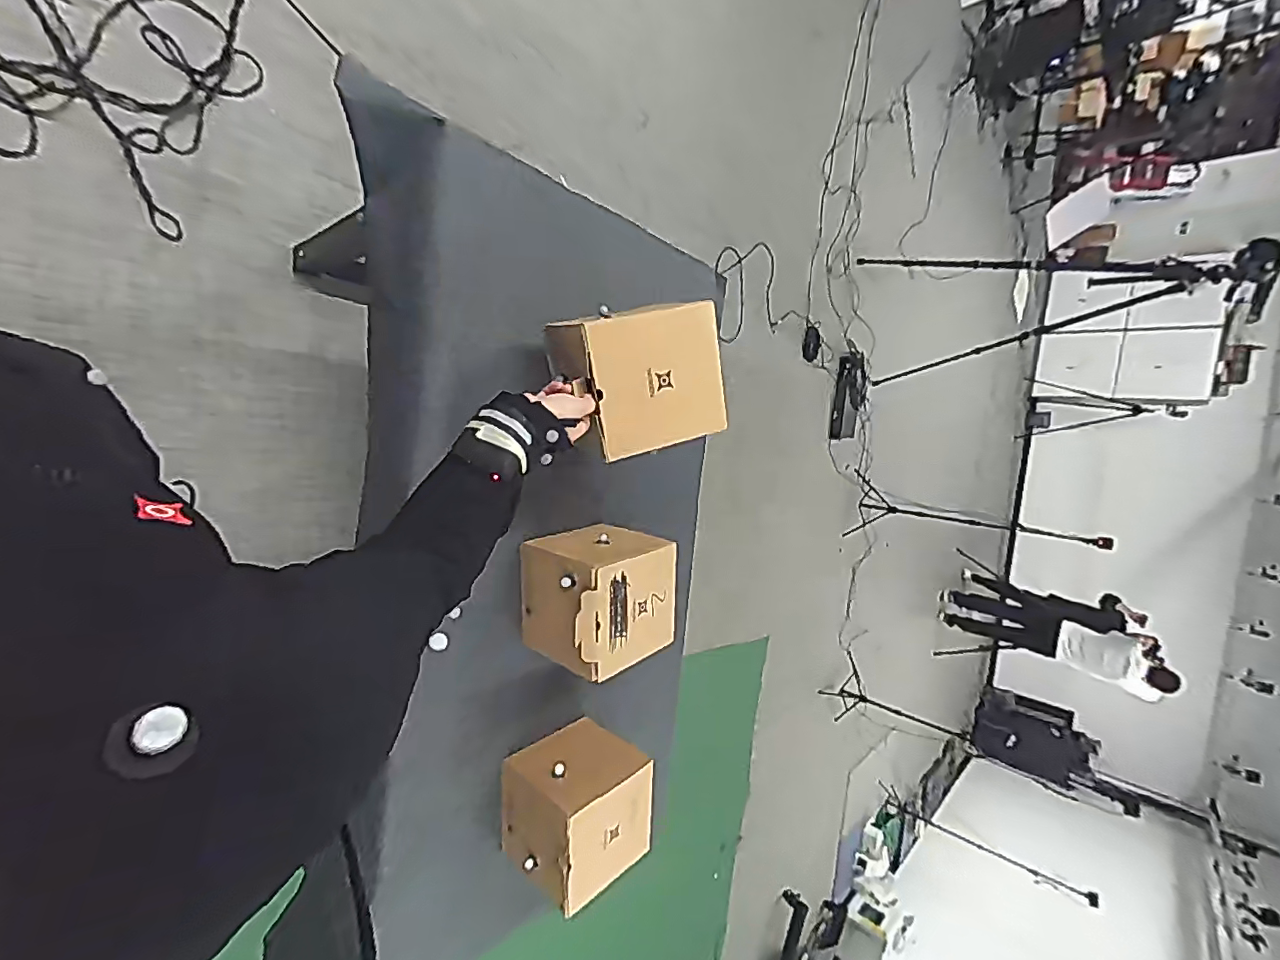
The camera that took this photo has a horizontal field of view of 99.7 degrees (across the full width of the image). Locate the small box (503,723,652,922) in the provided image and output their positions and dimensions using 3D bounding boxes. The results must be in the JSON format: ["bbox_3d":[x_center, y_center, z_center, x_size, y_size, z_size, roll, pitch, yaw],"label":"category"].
[{"bbox_3d":[-0.102,0.523,0.858,0.179,0.176,0.168,-8,104,-48],"label":"small box"}]

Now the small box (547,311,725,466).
[{"bbox_3d":[-0.008,-0.133,0.727,0.179,0.176,0.168,-16,110,-22],"label":"small box"}]
